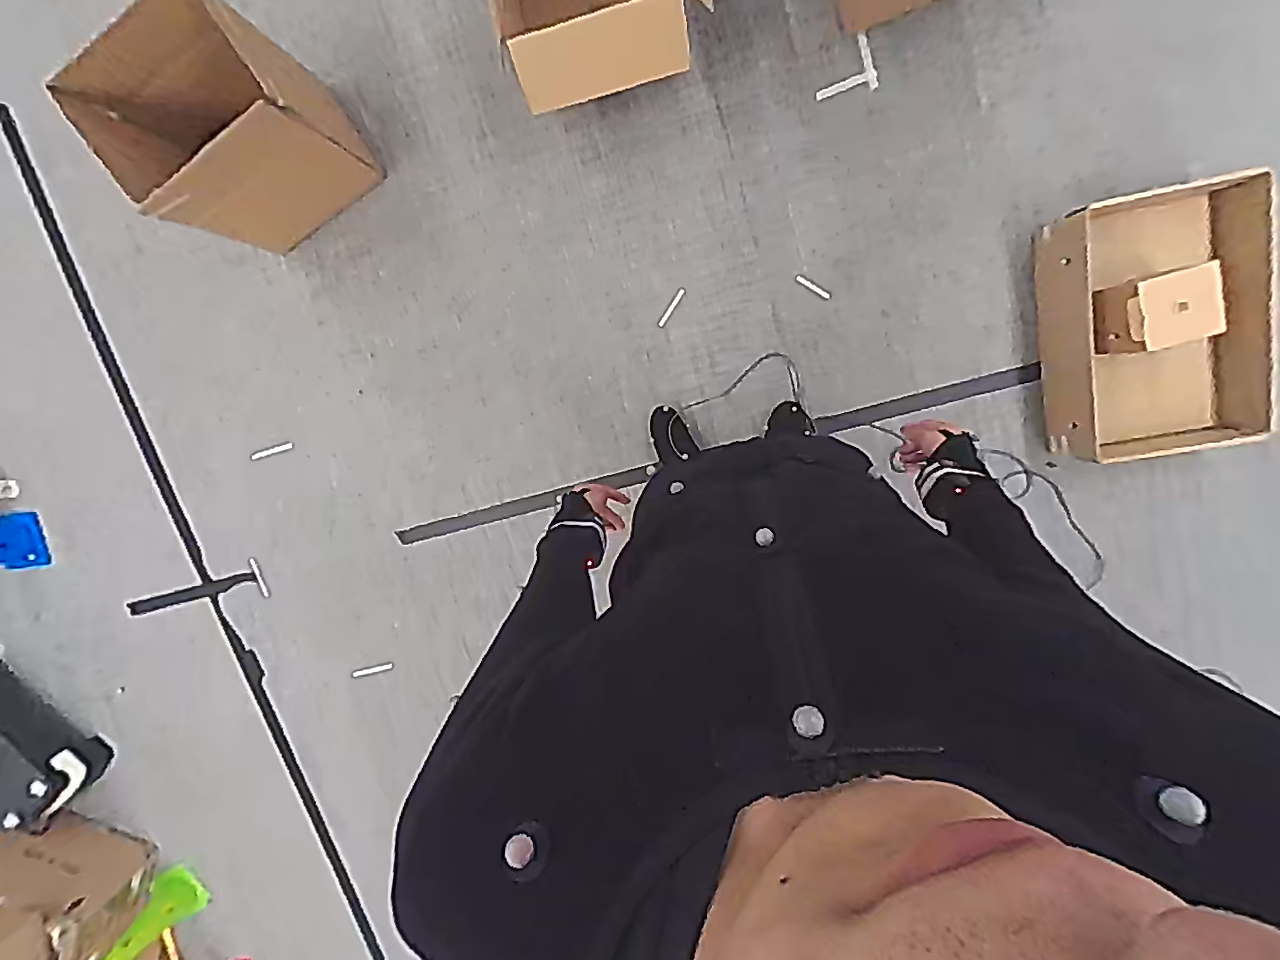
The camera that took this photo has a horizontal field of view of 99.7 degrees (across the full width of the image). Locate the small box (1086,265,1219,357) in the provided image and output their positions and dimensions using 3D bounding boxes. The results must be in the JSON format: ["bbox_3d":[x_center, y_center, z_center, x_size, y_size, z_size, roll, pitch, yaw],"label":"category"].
[{"bbox_3d":[1.238,-0.405,1.324,0.179,0.176,0.168,-15,100,8],"label":"small box"}]
